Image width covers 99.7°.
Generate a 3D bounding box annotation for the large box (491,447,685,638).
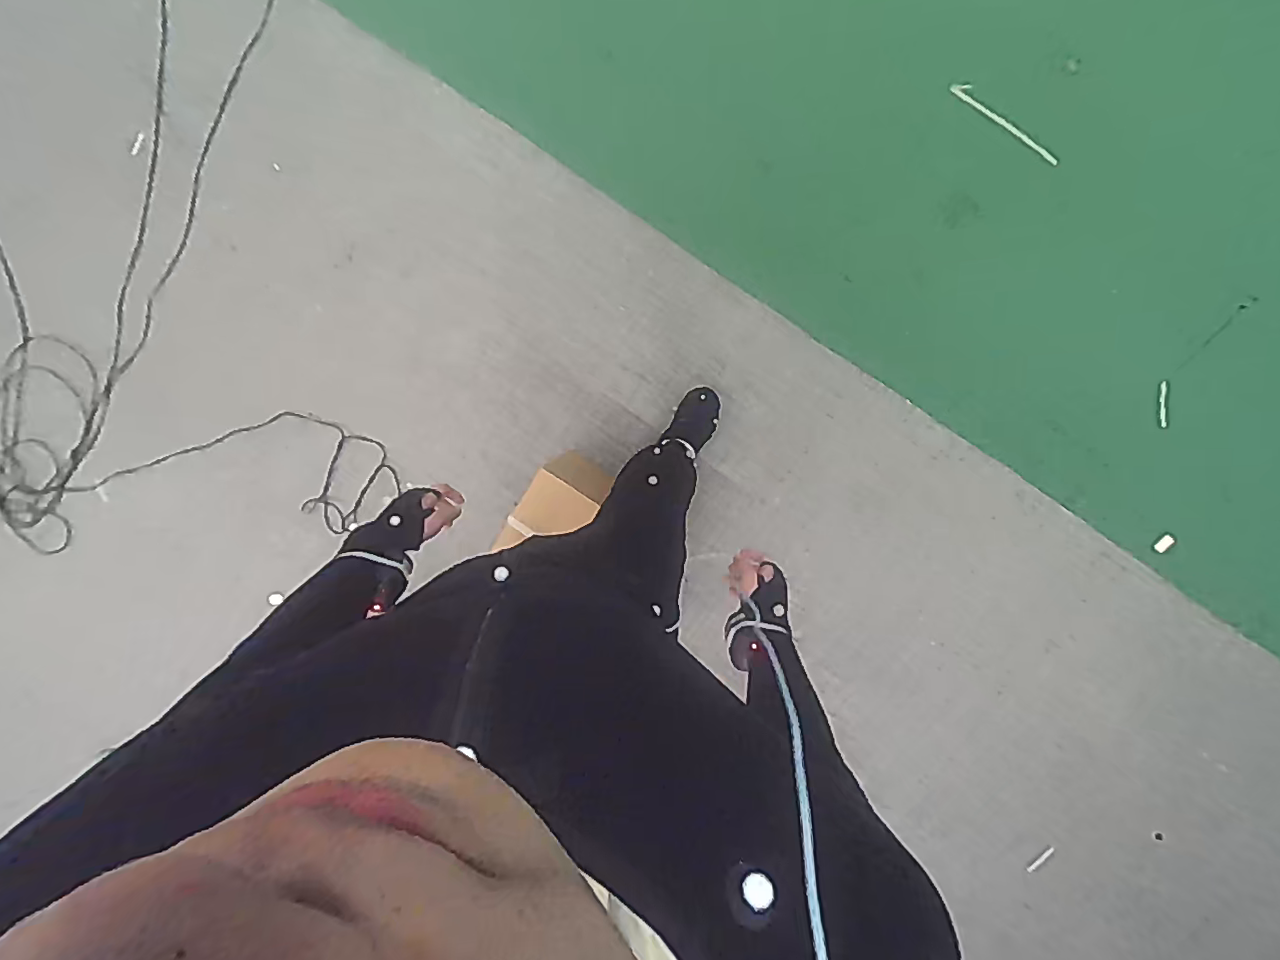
[{"bbox_3d":[-0.124,0.150,1.494,0.408,0.320,0.320,33,103,-1],"label":"large box"}]
